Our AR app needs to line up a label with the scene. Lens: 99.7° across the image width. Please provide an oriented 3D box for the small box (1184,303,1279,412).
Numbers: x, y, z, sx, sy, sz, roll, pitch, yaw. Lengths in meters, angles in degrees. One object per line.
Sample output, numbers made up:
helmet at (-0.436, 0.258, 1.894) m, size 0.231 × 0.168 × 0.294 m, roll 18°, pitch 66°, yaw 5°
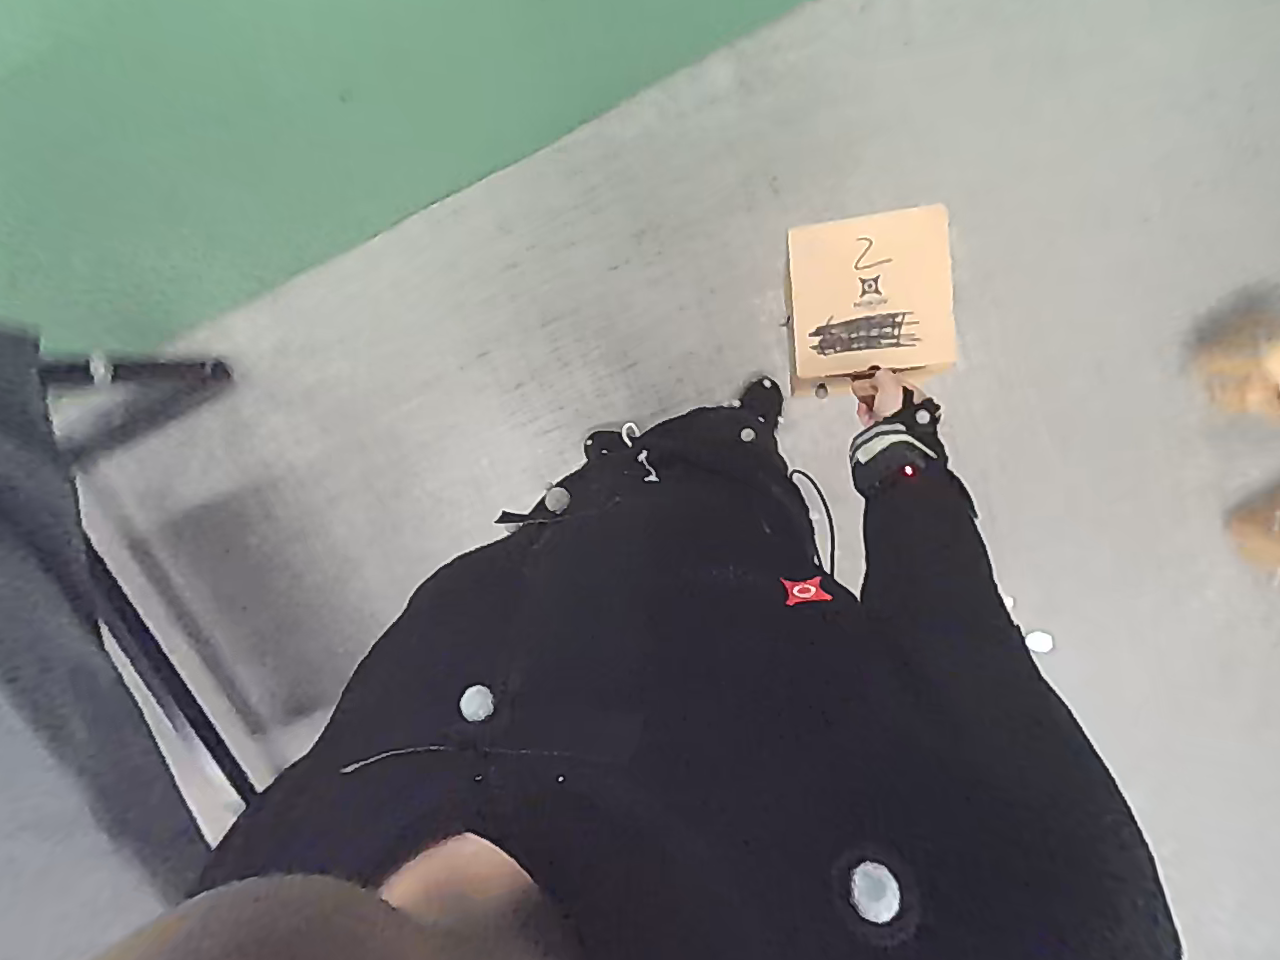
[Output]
small box at (1.350, -0.267, 1.157) m, size 0.179 × 0.176 × 0.168 m, roll -34°, pitch 99°, yaw 10°

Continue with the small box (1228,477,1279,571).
small box at (1.519, 0.110, 1.234) m, size 0.179 × 0.176 × 0.168 m, roll -37°, pitch 100°, yaw 9°
